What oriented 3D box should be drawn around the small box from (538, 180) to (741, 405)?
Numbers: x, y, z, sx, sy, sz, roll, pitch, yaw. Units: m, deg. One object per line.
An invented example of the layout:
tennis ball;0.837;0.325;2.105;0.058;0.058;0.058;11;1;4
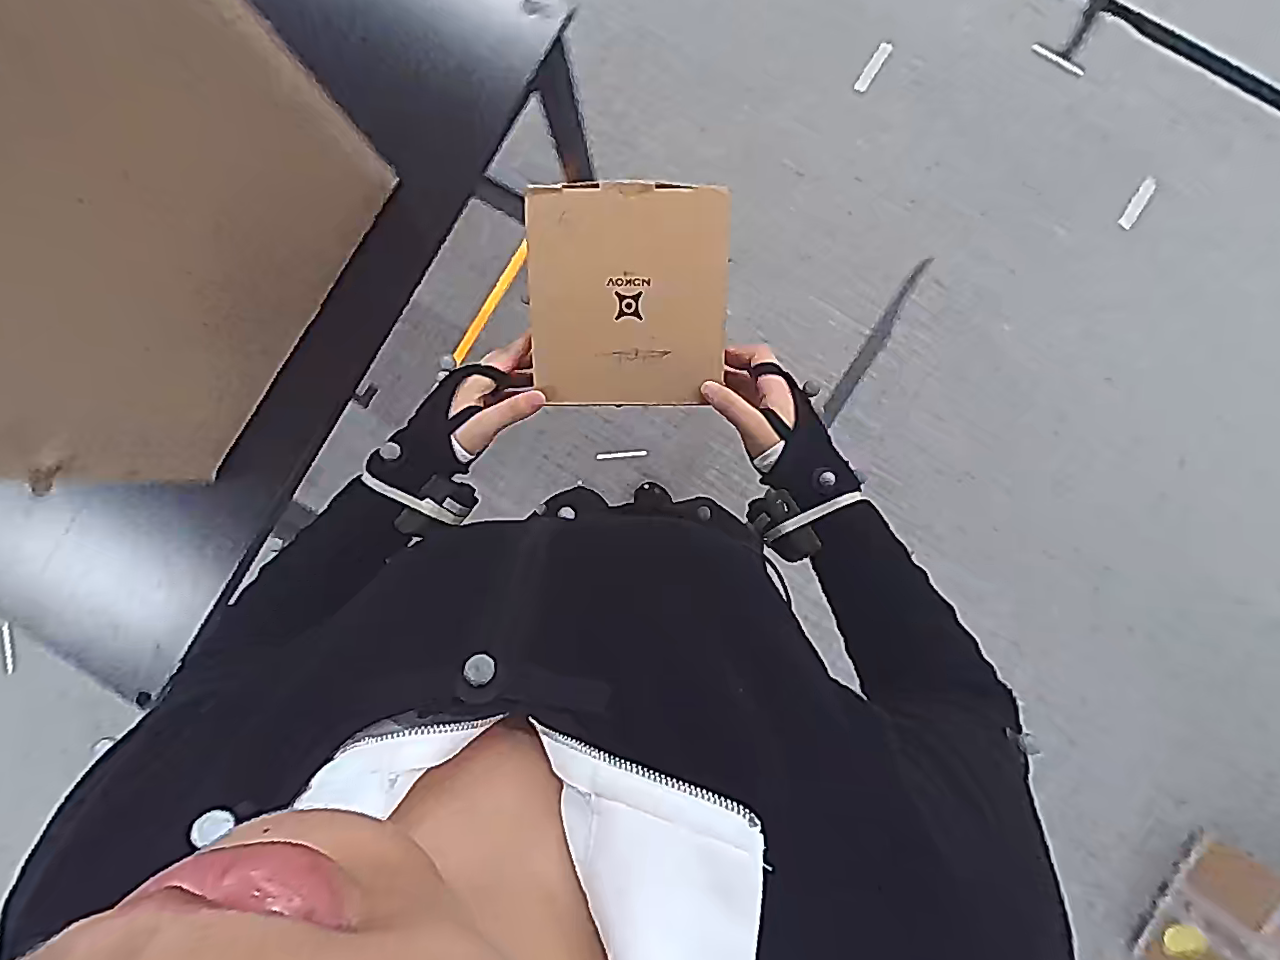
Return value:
small box;-0.004;-0.172;0.525;0.168;0.176;0.179;1;106;0
